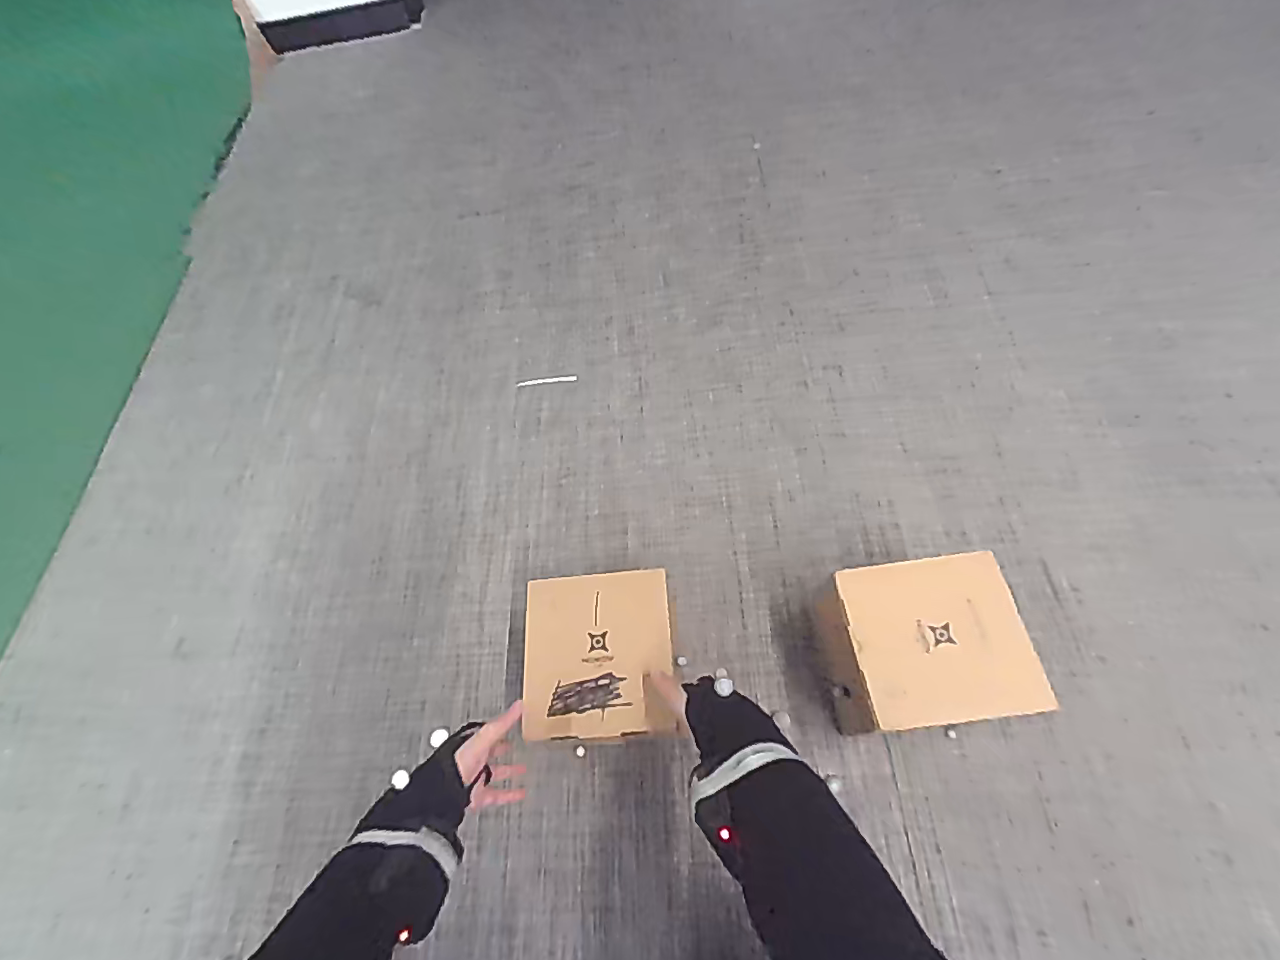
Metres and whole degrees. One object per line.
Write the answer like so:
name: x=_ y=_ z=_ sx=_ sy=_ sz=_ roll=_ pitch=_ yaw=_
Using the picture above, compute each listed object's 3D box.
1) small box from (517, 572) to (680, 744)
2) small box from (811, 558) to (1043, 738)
small box: x=-0.043 y=0.228 z=0.671 sx=0.168 sy=0.176 sz=0.179 roll=-6 pitch=62 yaw=5
small box: x=0.309 y=0.204 z=0.633 sx=0.179 sy=0.176 sz=0.168 roll=-8 pitch=63 yaw=4
